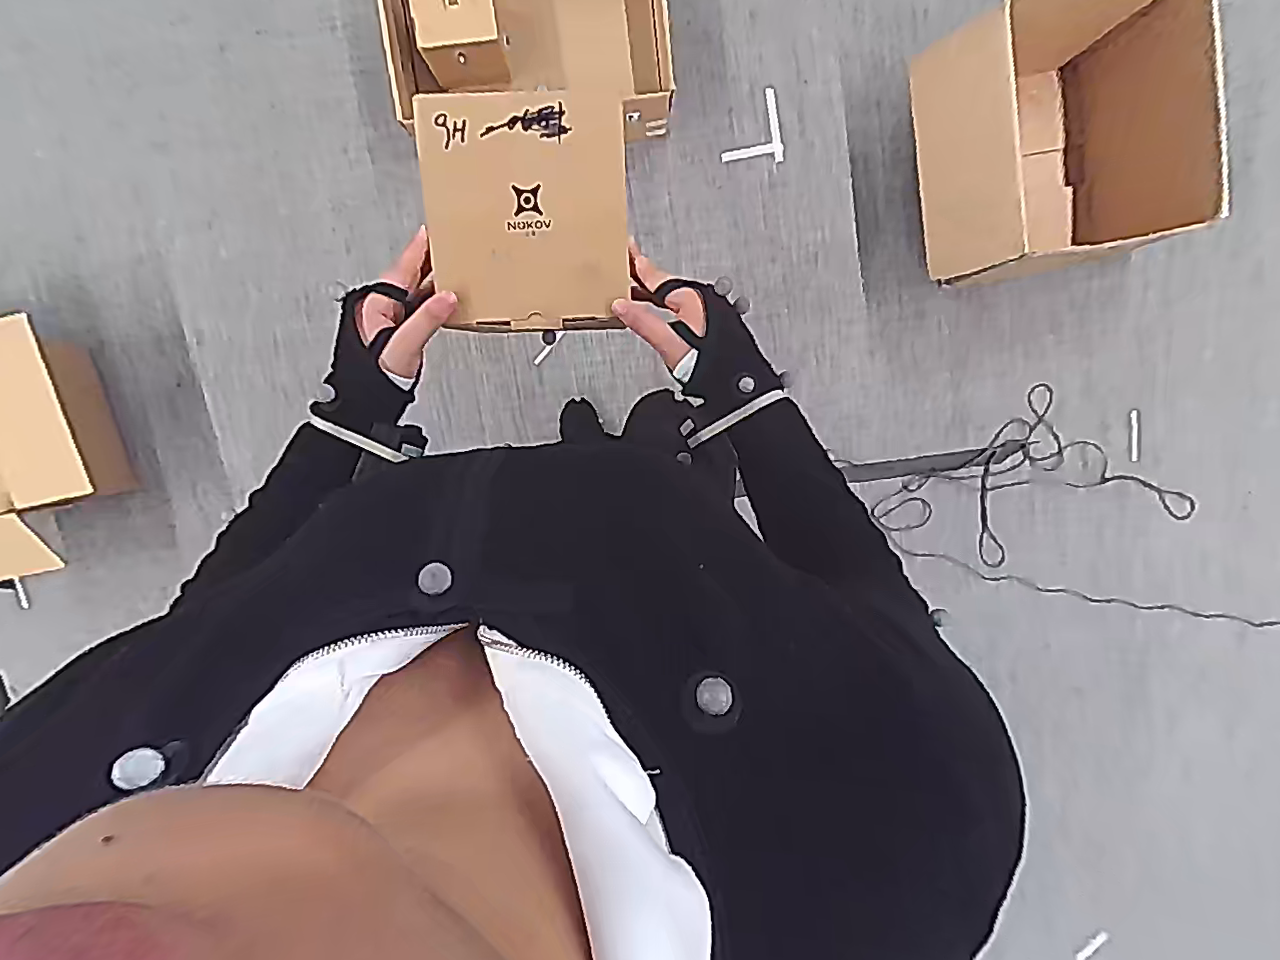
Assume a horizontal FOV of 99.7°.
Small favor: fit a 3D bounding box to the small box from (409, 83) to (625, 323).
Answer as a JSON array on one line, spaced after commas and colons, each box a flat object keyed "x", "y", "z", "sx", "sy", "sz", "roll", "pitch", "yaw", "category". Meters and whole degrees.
[{"x": -0.098, "y": -0.243, "z": 0.517, "sx": 0.168, "sy": 0.176, "sz": 0.179, "roll": -3, "pitch": 104, "yaw": -2, "category": "small box"}]

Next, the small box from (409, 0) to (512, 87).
[{"x": -0.401, "y": -1.016, "z": 1.219, "sx": 0.179, "sy": 0.176, "sz": 0.168, "roll": -8, "pitch": 100, "yaw": -1, "category": "small box"}]
